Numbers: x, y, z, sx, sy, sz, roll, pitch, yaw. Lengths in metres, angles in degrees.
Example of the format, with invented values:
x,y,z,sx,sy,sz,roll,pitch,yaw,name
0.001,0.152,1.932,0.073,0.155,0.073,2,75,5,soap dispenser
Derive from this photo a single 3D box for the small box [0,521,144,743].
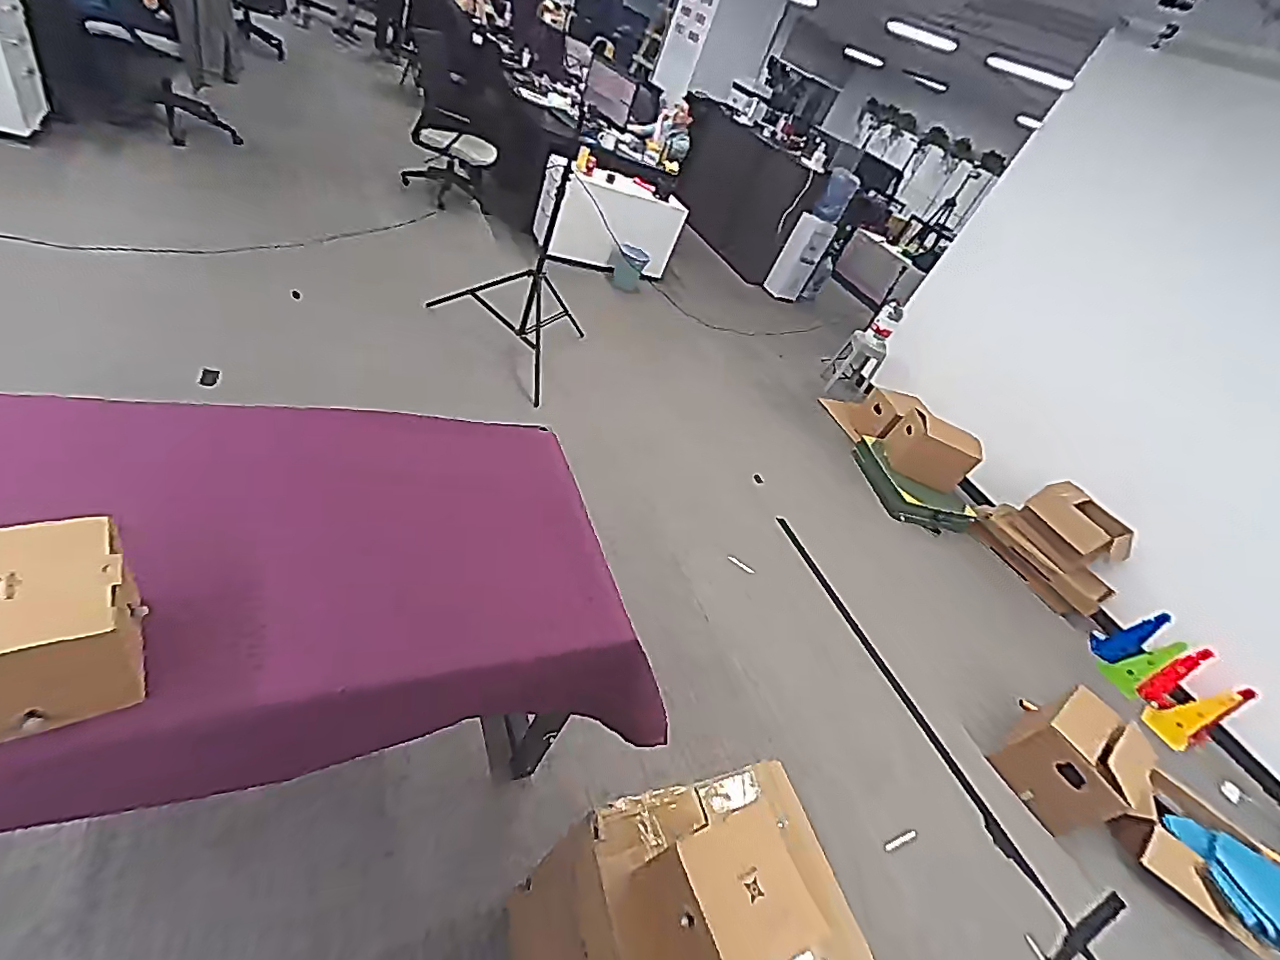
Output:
x,y,z,sx,sy,sz,roll,pitch,yaw,name
-0.680,0.171,0.604,0.179,0.176,0.168,-8,49,-39,small box

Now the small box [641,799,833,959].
x,y,z,sx,sy,sz,roll,pitch,yaw,name
0.124,0.597,0.766,0.168,0.176,0.179,-6,49,-32,small box
